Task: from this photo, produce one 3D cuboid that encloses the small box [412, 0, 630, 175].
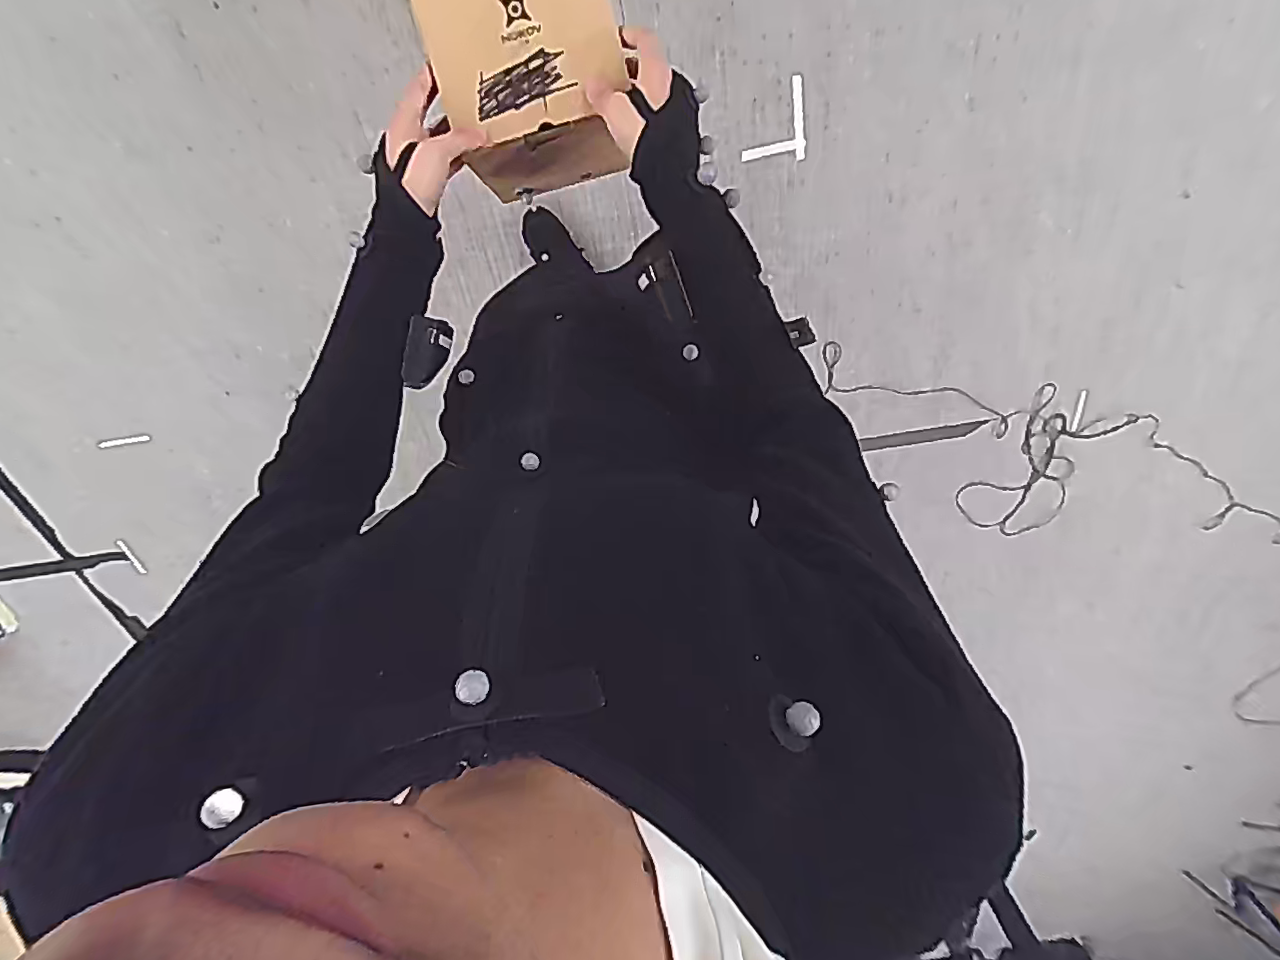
[{"bbox_3d":[-0.106,-0.421,0.523,0.168,0.176,0.179,-14,103,2],"label":"small box"}]
